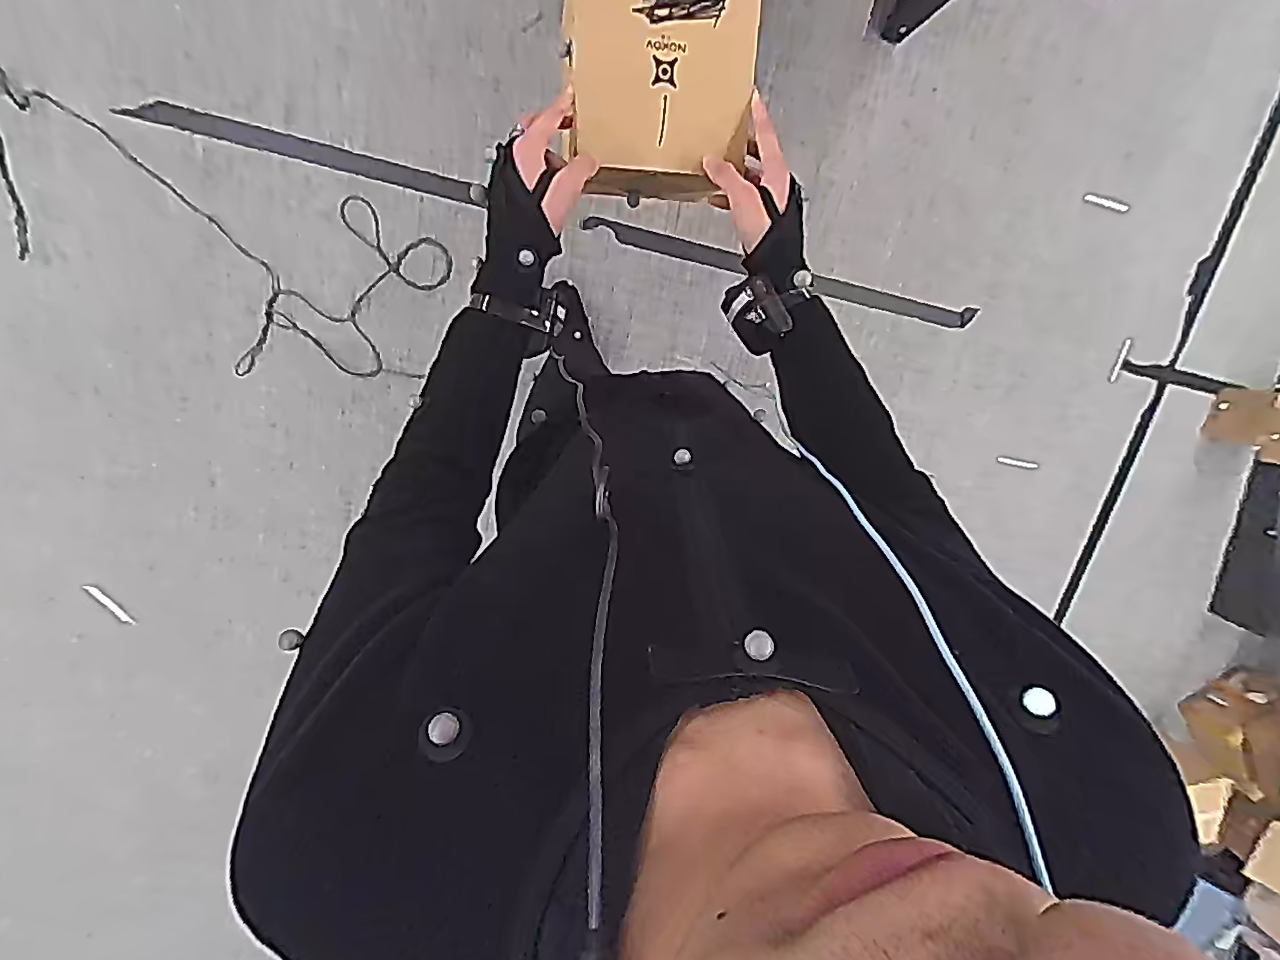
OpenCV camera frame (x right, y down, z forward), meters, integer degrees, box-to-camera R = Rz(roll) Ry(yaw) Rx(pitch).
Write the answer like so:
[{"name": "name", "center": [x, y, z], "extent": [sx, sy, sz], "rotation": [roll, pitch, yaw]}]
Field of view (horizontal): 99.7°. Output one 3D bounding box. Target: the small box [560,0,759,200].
[{"name": "small box", "center": [0.006, -0.399, 0.548], "extent": [0.168, 0.176, 0.179], "rotation": [-1, 111, -11]}]
